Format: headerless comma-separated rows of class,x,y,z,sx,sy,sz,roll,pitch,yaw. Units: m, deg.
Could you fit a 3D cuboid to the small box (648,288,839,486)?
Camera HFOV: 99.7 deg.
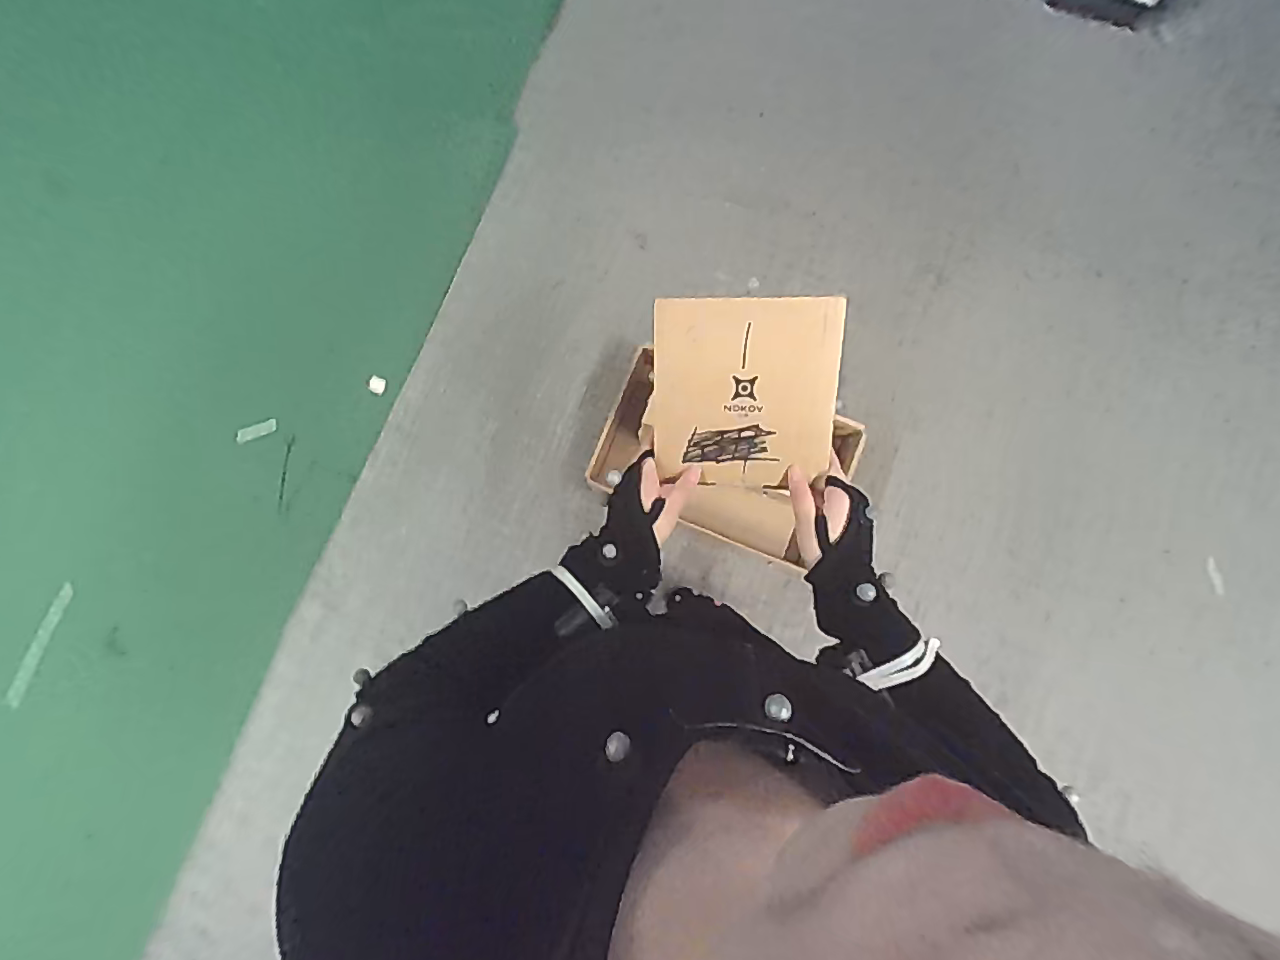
small box,0.102,-0.106,0.566,0.168,0.176,0.179,2,110,9

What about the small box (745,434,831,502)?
small box,0.363,-0.051,1.393,0.168,0.176,0.179,23,86,4
